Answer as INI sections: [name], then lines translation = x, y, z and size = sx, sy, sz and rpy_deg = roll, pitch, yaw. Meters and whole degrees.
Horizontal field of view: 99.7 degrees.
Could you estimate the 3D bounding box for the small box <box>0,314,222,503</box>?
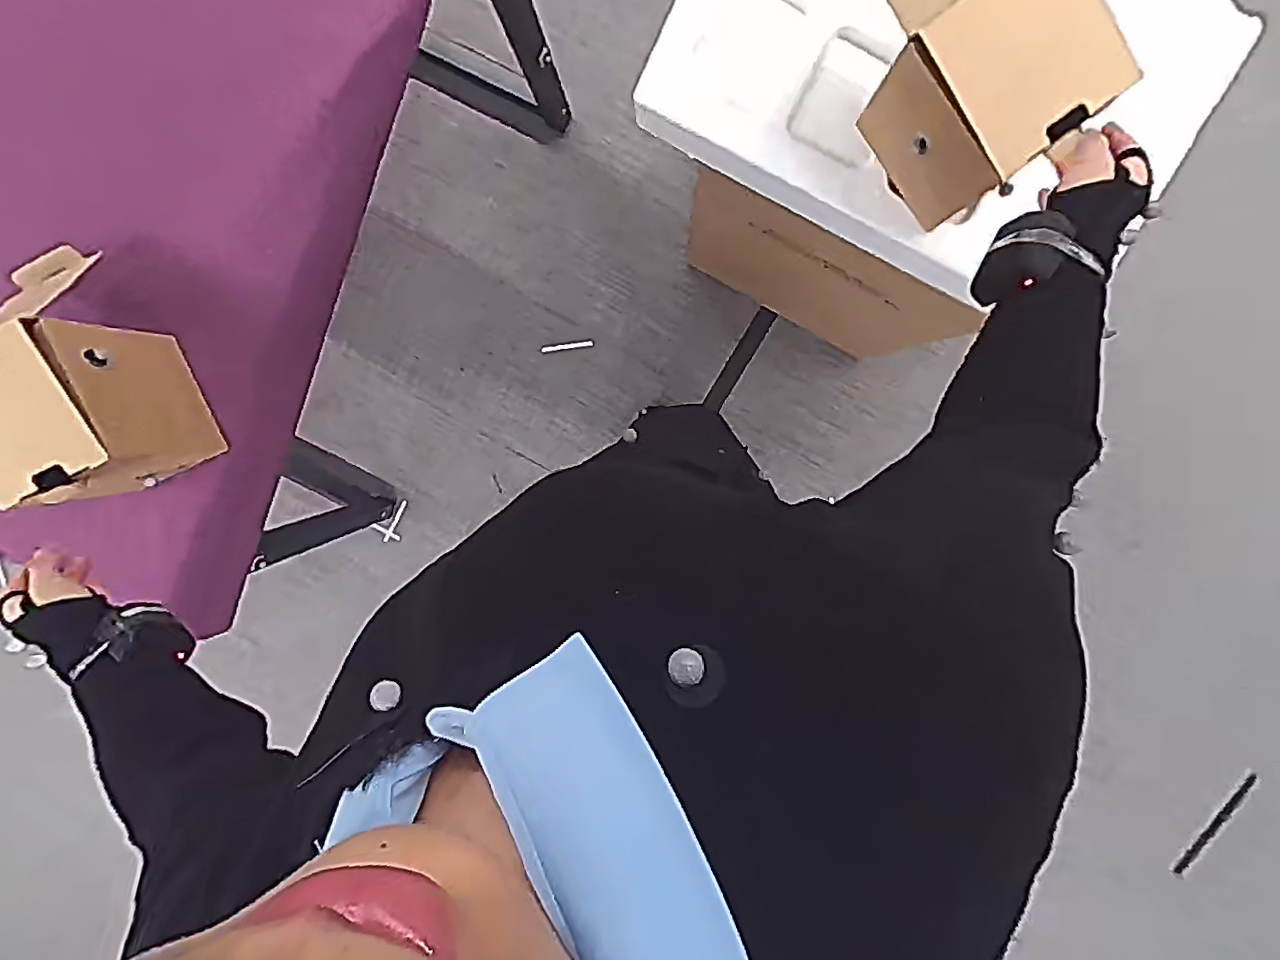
[small box]
translation = -0.704, -0.087, 0.697
size = 0.168, 0.176, 0.179
rpy_deg = -22, 95, 7
